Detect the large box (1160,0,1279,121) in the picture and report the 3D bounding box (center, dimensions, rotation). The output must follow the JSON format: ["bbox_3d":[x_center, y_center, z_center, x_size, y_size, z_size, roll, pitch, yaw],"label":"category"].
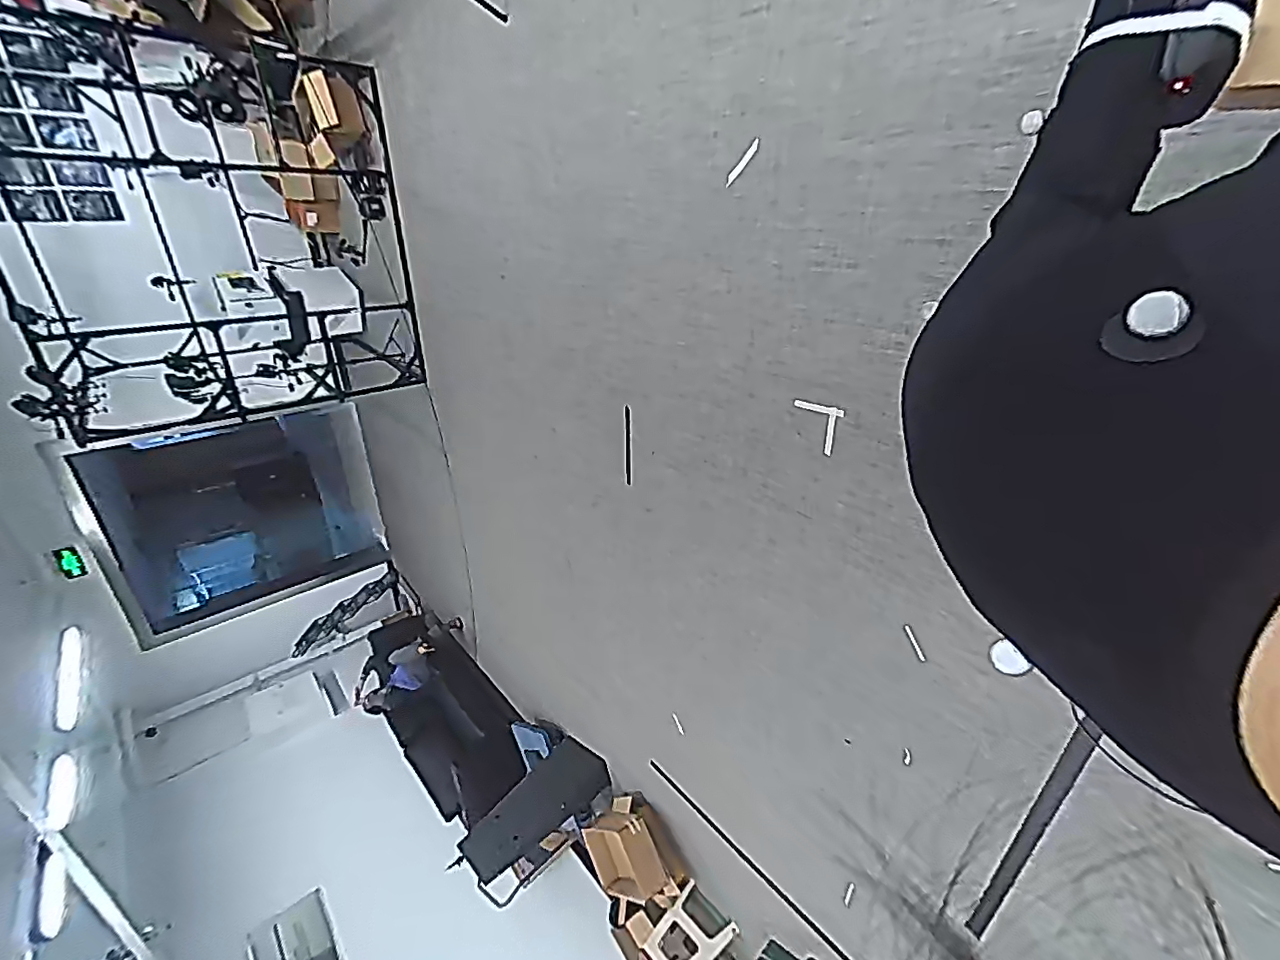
[{"bbox_3d":[0.635,-0.404,0.299,0.408,0.320,0.320,29,132,40],"label":"large box"}]
